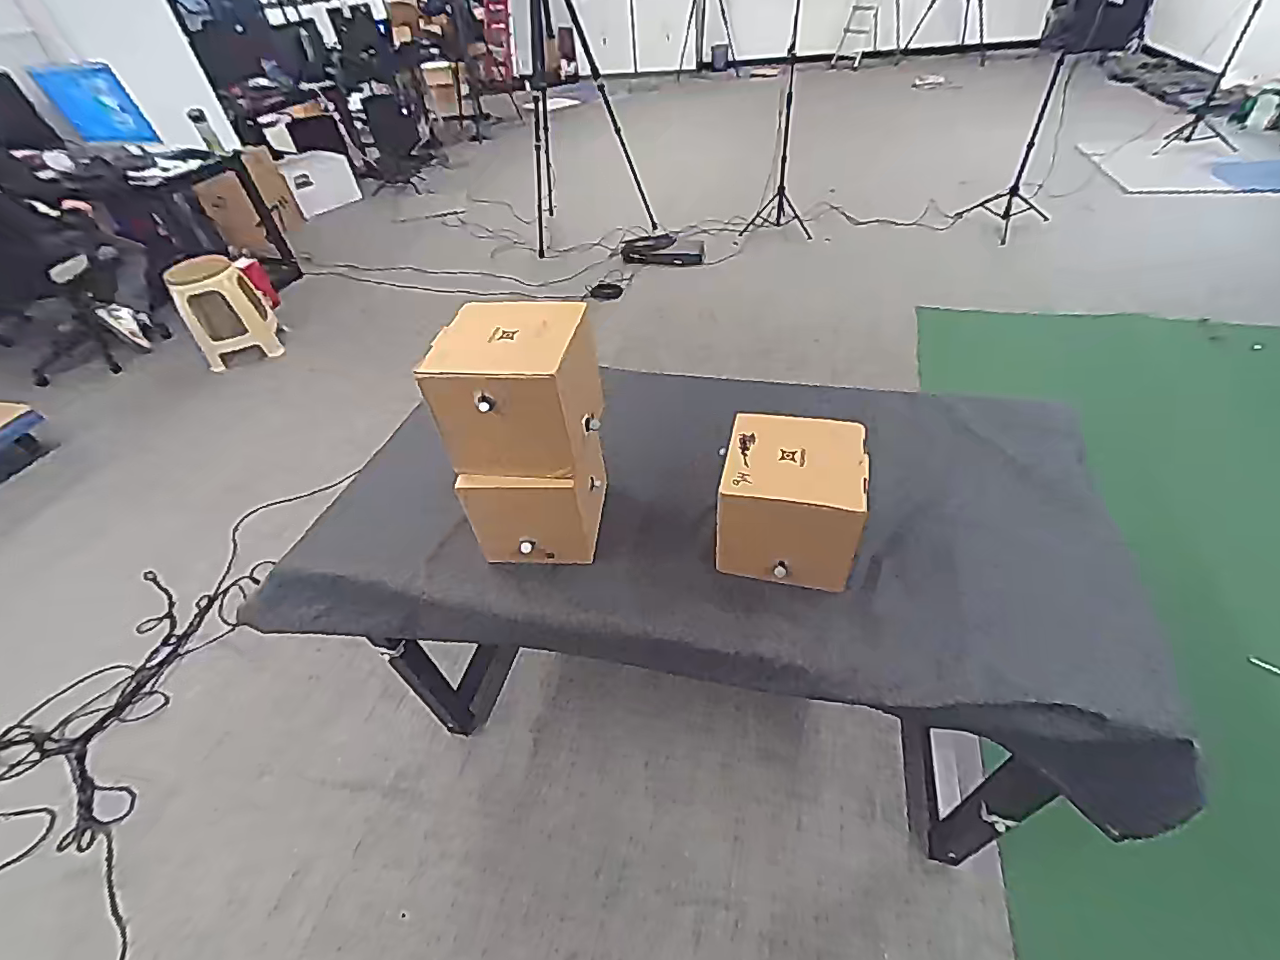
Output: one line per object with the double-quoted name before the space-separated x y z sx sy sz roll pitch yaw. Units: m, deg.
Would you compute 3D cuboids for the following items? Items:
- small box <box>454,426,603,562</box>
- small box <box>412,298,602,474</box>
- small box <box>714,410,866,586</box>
"small box" -0.153 0.002 0.818 0.168 0.176 0.179 0 46 7
"small box" -0.159 -0.123 0.714 0.179 0.176 0.168 4 47 9
"small box" 0.204 0.027 0.754 0.179 0.176 0.168 8 46 14
